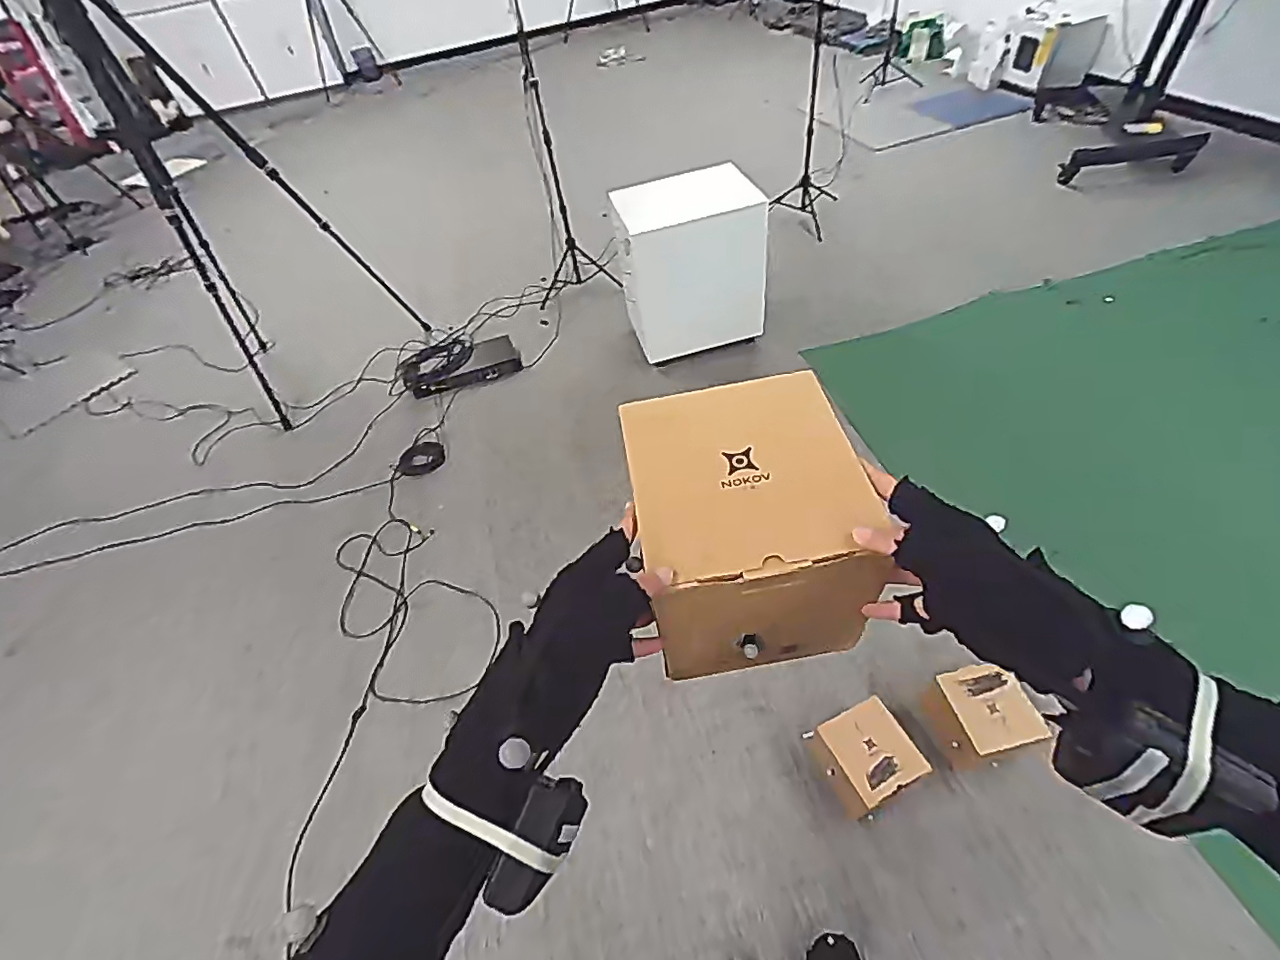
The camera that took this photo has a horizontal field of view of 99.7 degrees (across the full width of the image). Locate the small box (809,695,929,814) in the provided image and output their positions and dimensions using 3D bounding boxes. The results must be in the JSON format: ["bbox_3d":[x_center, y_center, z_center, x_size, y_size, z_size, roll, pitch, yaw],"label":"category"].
[{"bbox_3d":[0.503,0.623,1.216,0.168,0.176,0.179,-23,50,-11],"label":"small box"}]
